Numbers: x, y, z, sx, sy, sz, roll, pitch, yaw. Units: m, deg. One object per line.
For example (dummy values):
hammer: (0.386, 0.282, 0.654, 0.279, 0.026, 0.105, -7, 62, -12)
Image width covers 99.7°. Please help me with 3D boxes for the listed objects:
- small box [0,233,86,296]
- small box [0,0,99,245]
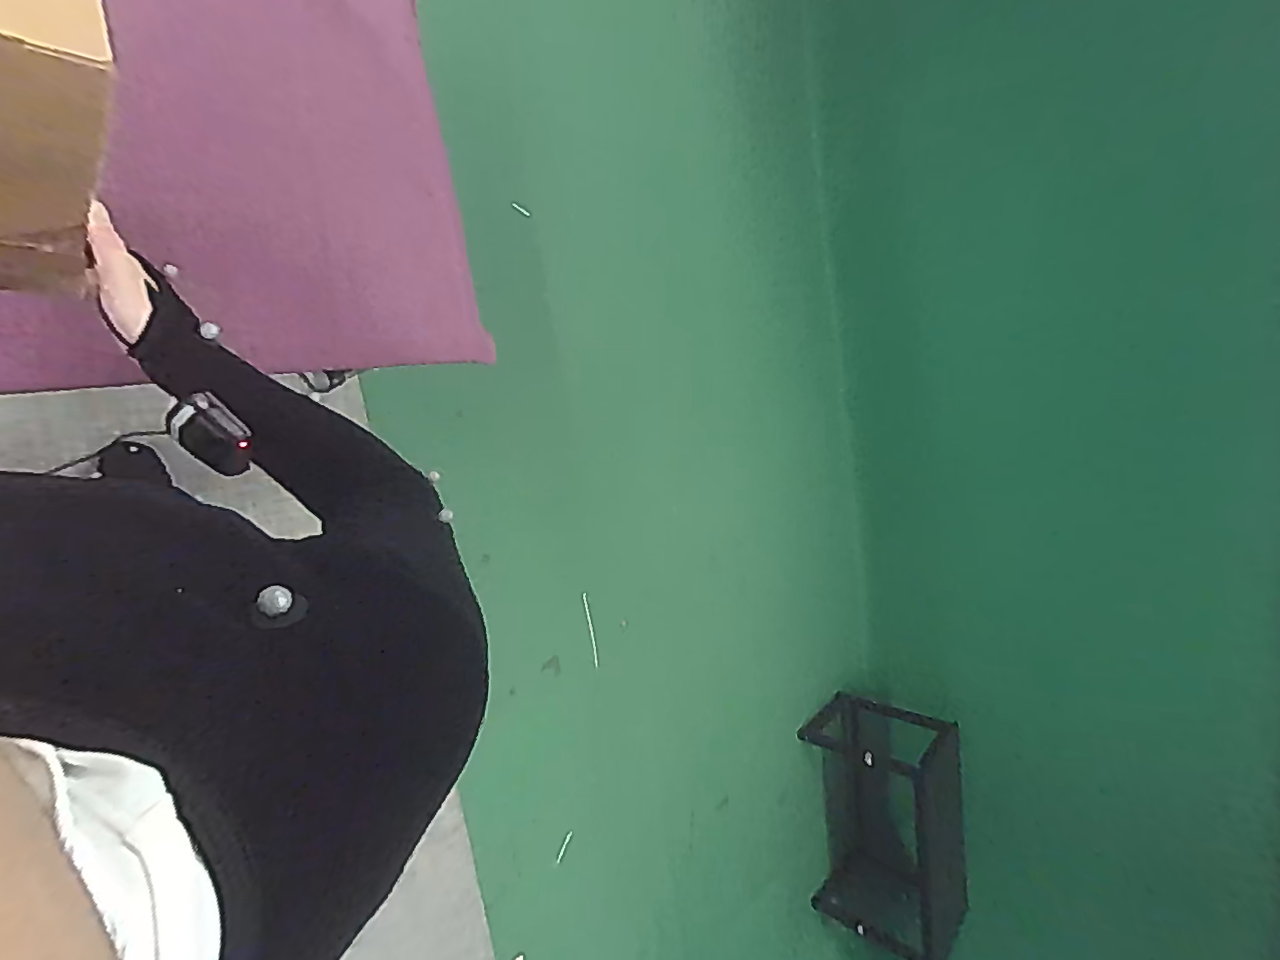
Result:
small box: (-0.614, -0.274, 0.466, 0.168, 0.176, 0.179, -12, 100, -47)
small box: (-0.494, -0.280, 0.357, 0.168, 0.176, 0.179, -12, 100, -47)
